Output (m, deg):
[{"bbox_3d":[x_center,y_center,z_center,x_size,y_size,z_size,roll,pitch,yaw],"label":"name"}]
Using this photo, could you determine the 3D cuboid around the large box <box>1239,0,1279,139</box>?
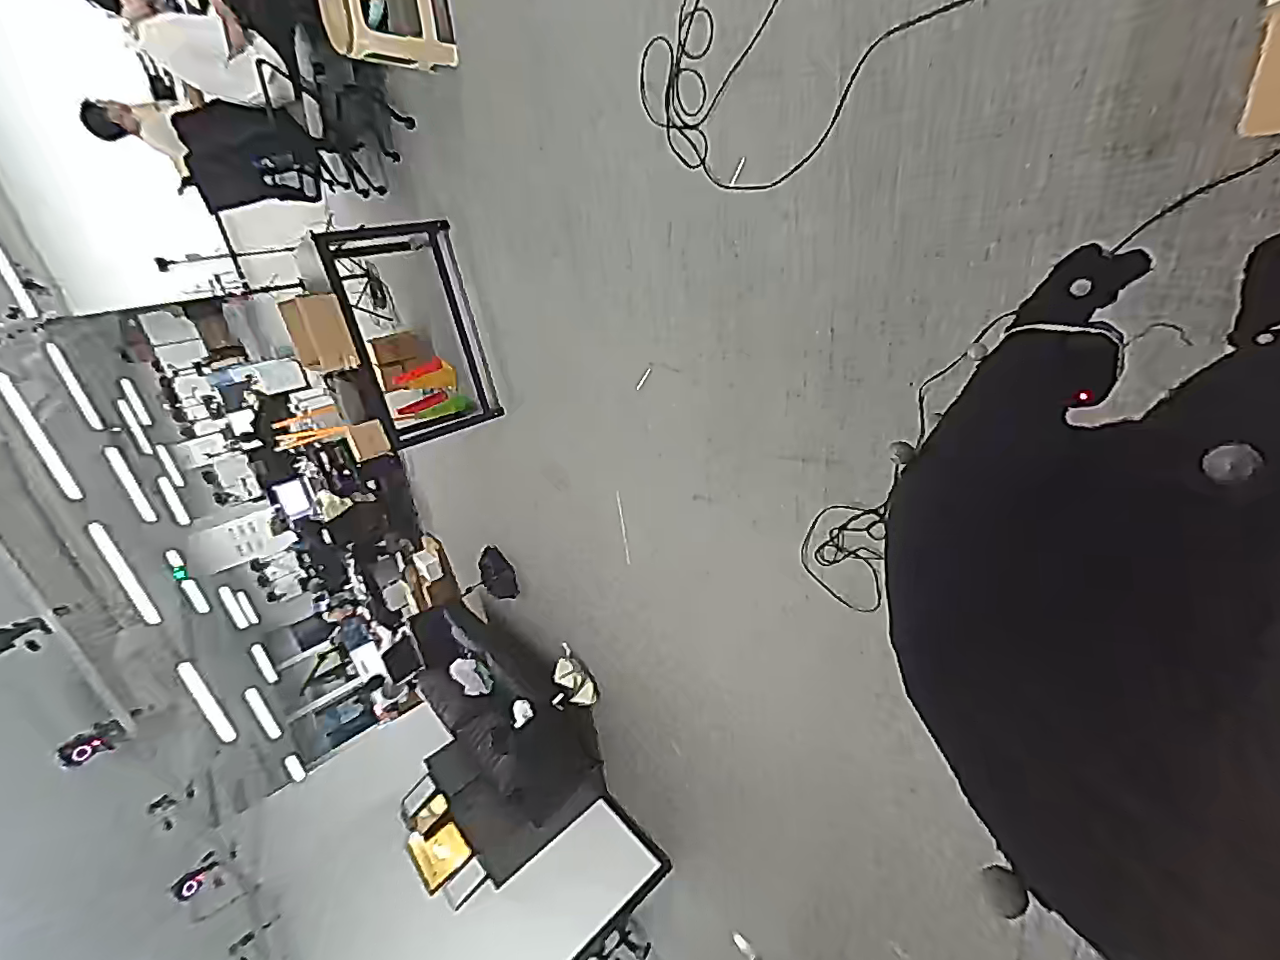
[{"bbox_3d":[1.015,-0.606,0.608,0.408,0.320,0.320,19,126,44],"label":"large box"}]
